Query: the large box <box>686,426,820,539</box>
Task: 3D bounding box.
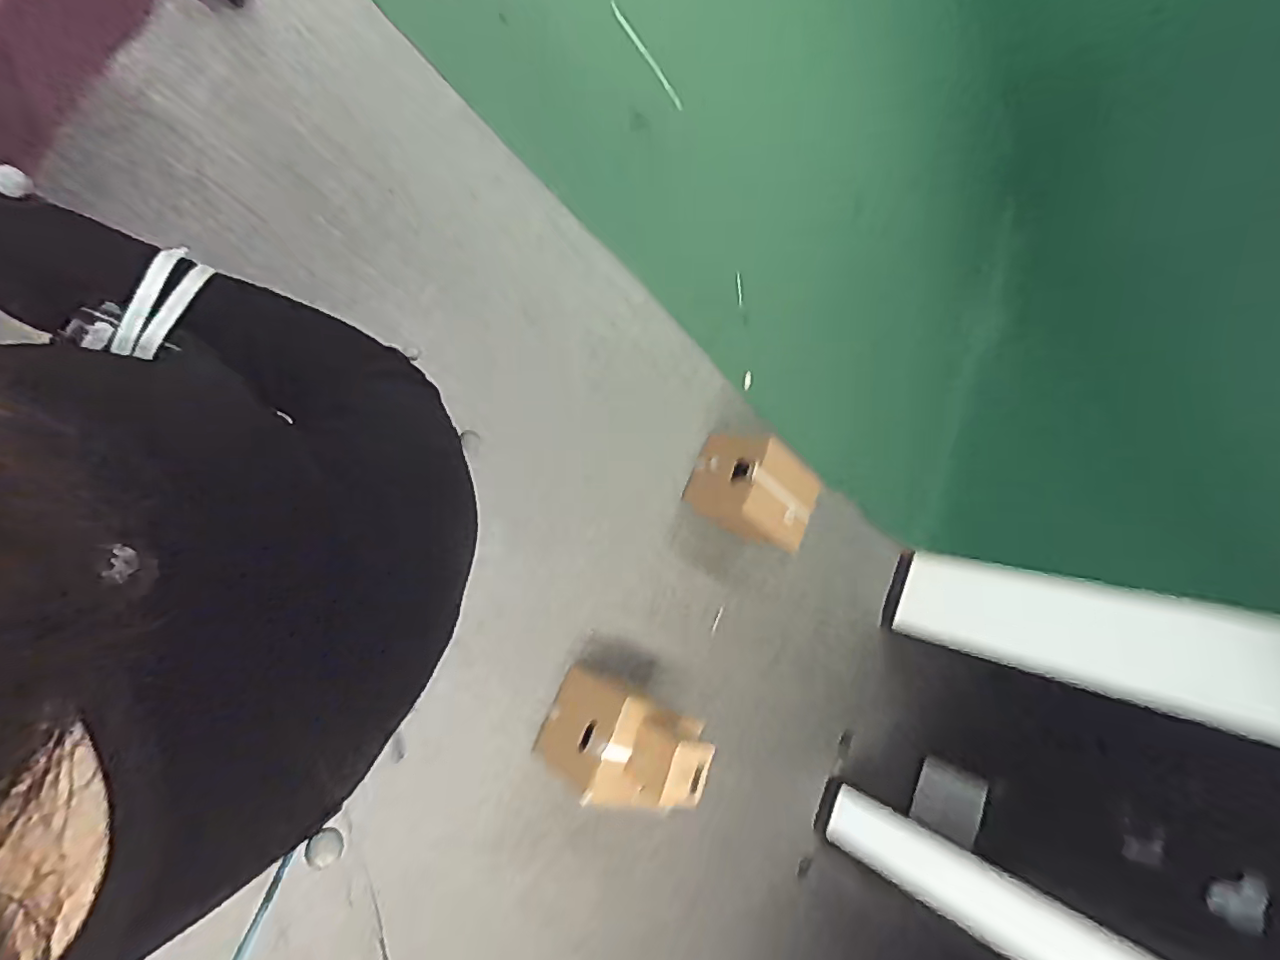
[{"bbox_3d":[0.454,0.006,2.170,0.408,0.320,0.320,34,74,-38],"label":"large box"}]
